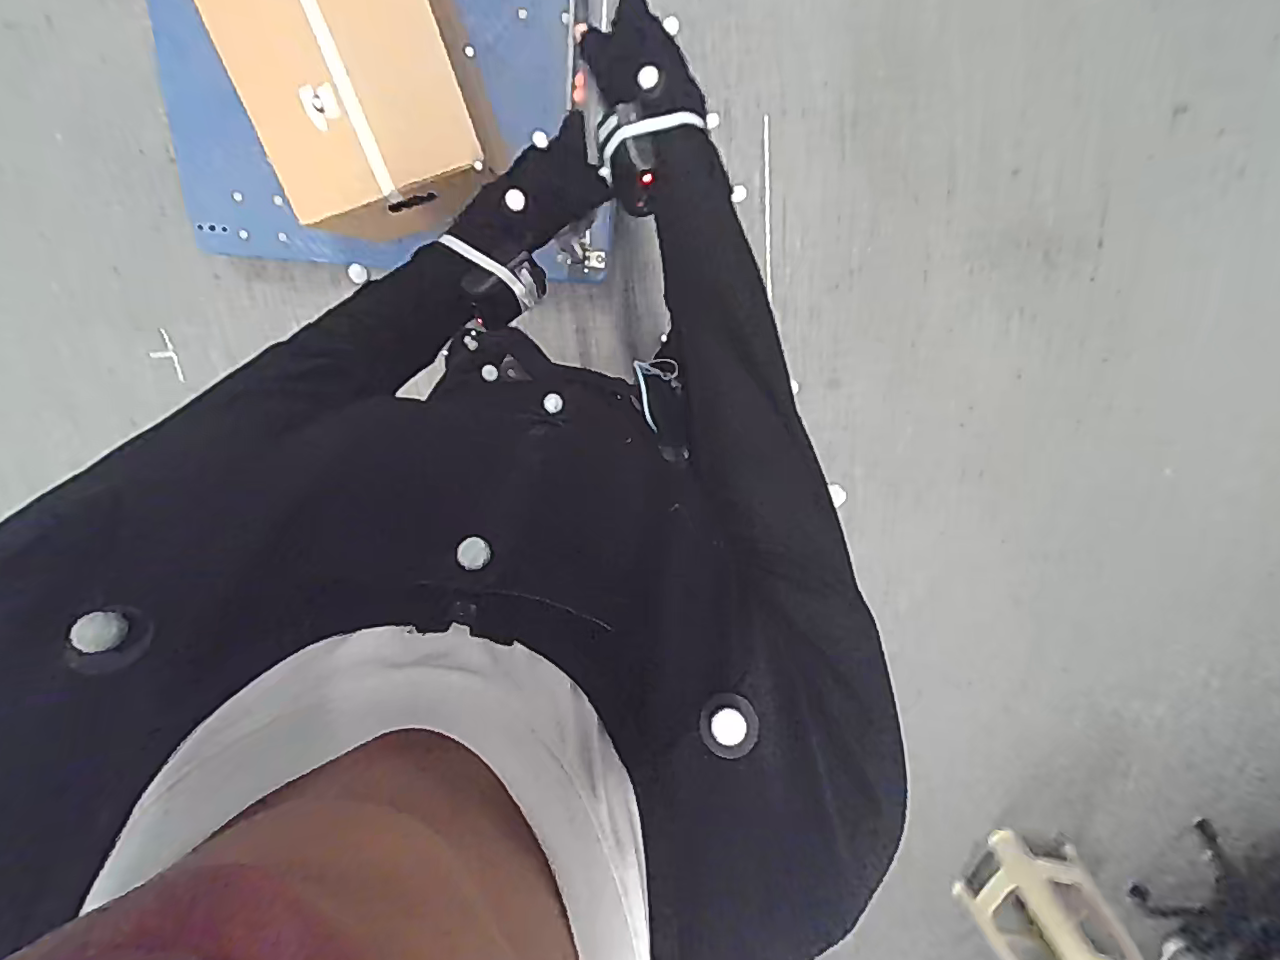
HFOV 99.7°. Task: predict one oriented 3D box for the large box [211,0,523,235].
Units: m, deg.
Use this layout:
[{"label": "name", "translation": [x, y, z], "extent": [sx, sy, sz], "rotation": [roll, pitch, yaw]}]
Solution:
[{"label": "large box", "translation": [-0.436, -0.685, 0.926], "extent": [0.320, 0.320, 0.408], "rotation": [-17, 109, 5]}]
